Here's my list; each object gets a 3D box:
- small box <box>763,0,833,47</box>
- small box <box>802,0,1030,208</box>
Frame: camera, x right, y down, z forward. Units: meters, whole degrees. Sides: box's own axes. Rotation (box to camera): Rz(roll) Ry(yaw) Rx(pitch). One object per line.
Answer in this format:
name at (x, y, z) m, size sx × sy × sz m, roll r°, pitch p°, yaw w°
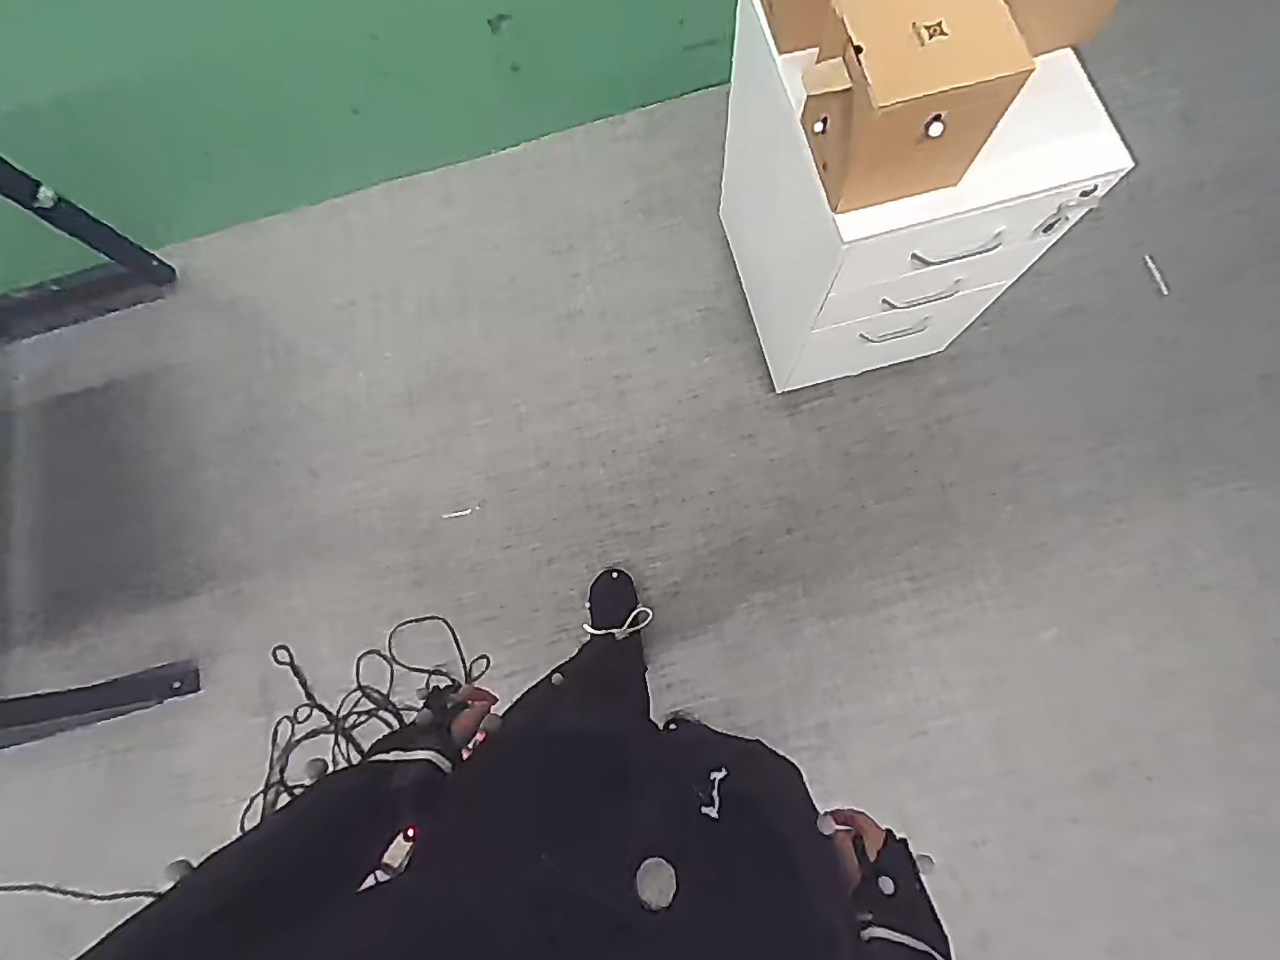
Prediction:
small box at (0.262, -0.740, 0.736) m, size 0.179 × 0.176 × 0.168 m, roll -13°, pitch 79°, yaw 0°
small box at (0.323, -0.478, 0.673) m, size 0.179 × 0.176 × 0.168 m, roll -14°, pitch 77°, yaw 2°
